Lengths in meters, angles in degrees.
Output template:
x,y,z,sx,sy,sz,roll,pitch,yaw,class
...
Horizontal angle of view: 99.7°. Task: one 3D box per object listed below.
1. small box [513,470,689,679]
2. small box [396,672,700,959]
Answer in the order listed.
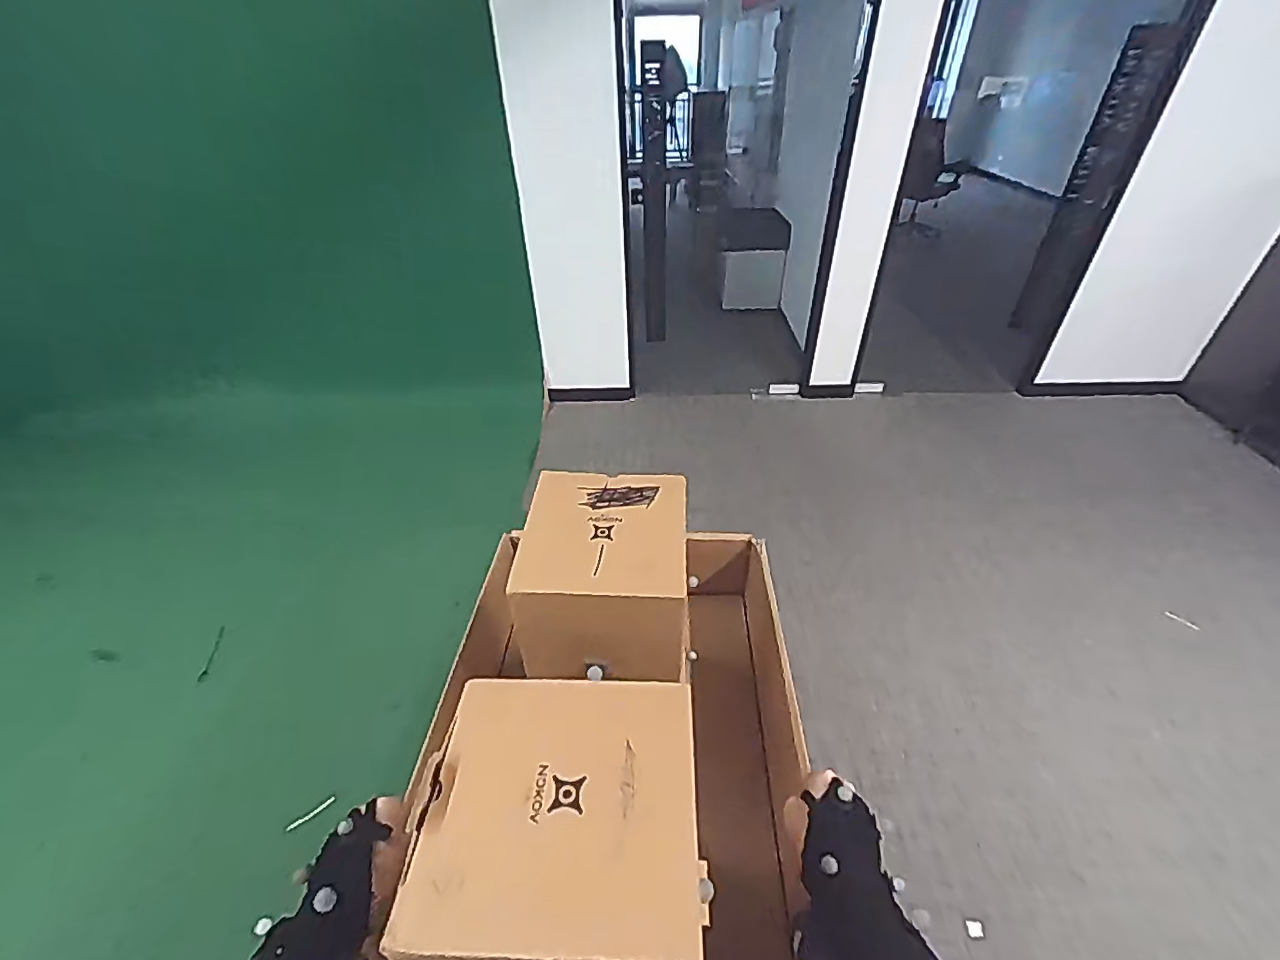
x,y,z,sx,sy,sz,roll,pitch,yaw,class
-0.032,0.109,0.609,0.168,0.176,0.179,2,41,3,small box
-0.049,0.268,0.412,0.179,0.176,0.168,2,38,1,small box
